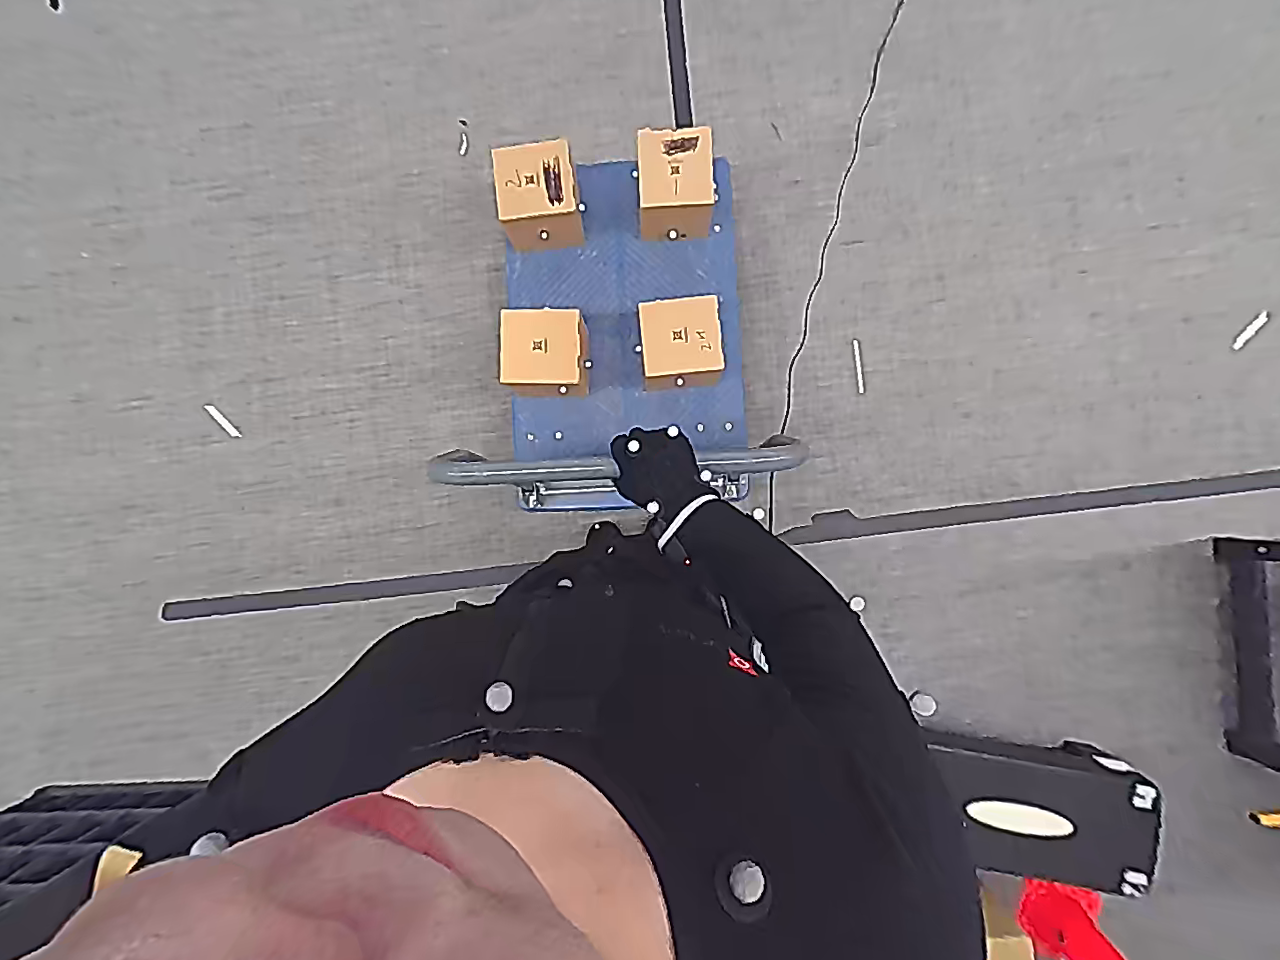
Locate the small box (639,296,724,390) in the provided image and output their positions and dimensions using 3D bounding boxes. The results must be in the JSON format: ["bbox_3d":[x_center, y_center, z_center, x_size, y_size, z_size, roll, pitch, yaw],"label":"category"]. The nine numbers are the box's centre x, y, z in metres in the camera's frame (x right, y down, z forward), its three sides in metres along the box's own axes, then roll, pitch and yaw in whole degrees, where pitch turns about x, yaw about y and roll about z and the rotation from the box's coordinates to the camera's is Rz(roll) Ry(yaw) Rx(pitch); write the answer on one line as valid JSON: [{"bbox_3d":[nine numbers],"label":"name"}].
[{"bbox_3d":[0.094,-0.310,1.255,0.179,0.176,0.168,-5,88,2],"label":"small box"}]

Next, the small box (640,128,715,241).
[{"bbox_3d":[0.083,-0.685,1.268,0.168,0.176,0.179,-2,89,2],"label":"small box"}]

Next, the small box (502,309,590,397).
[{"bbox_3d":[-0.215,-0.290,1.263,0.179,0.176,0.168,-1,88,1],"label":"small box"}]
